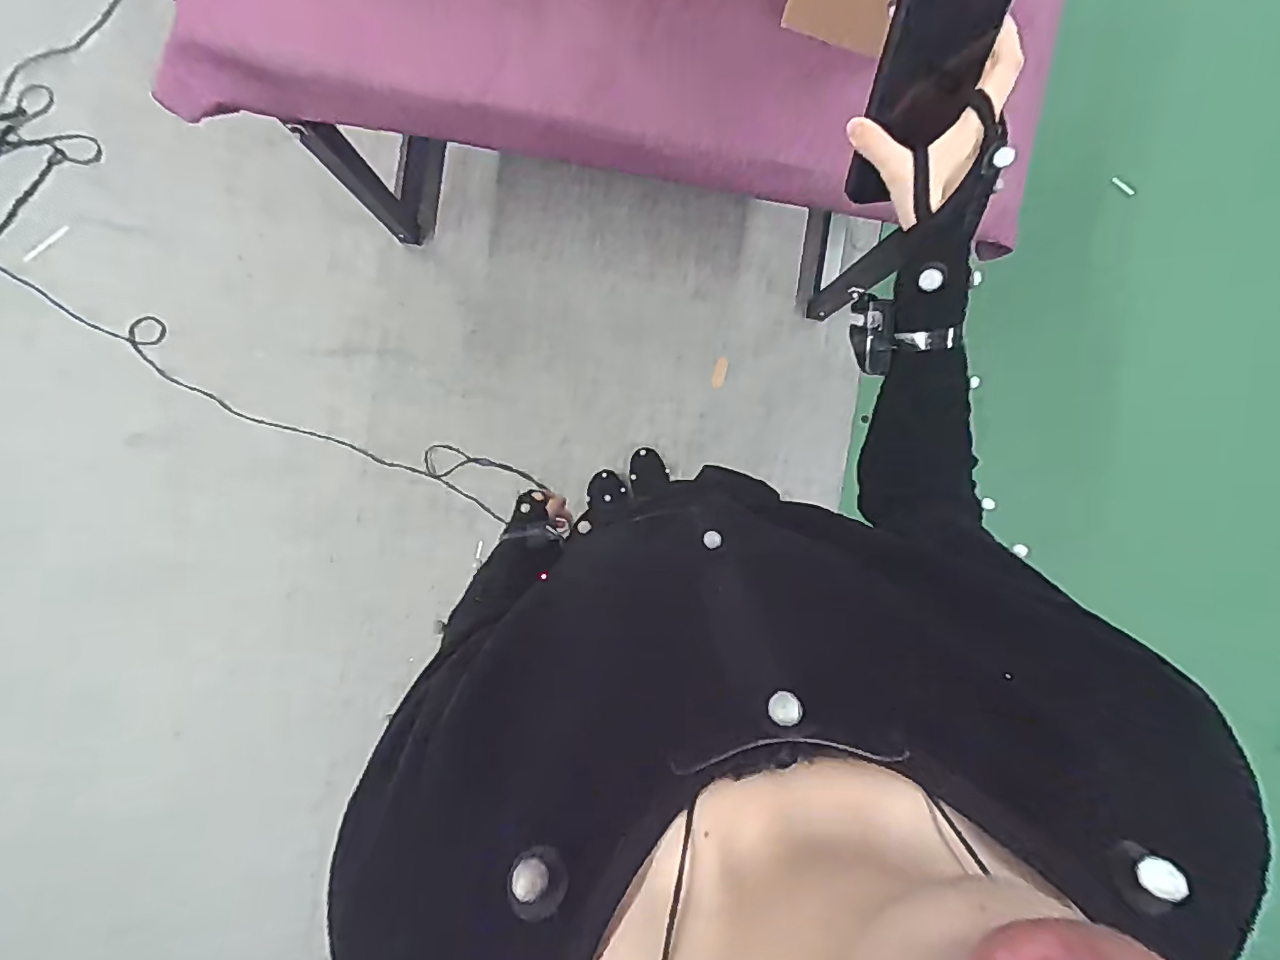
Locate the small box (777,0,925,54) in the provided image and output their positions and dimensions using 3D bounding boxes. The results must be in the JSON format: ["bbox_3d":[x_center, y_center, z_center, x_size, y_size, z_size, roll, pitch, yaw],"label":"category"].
[{"bbox_3d":[0.301,-0.702,0.693,0.179,0.176,0.168,18,91,-3],"label":"small box"}]
